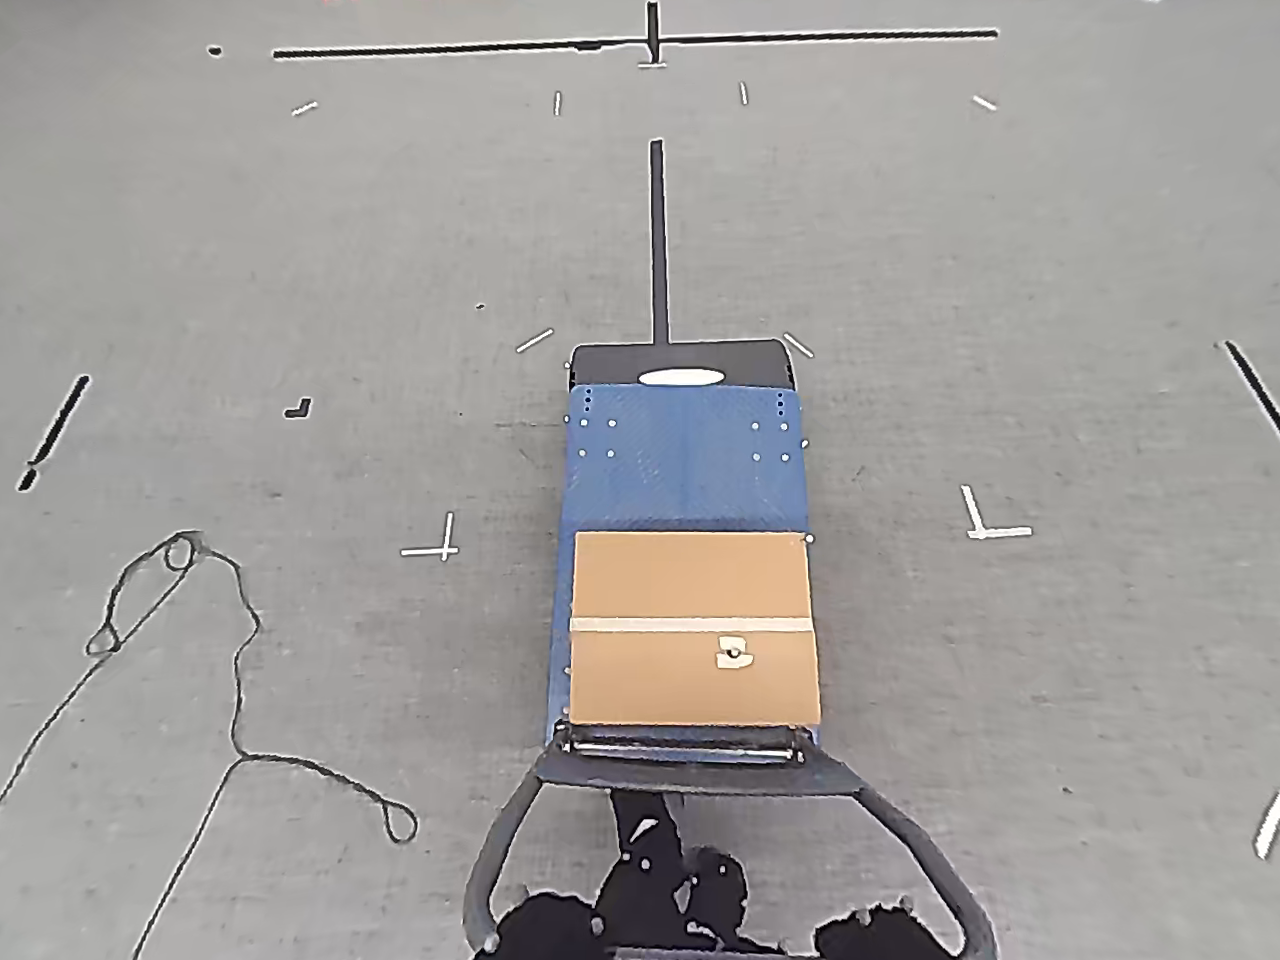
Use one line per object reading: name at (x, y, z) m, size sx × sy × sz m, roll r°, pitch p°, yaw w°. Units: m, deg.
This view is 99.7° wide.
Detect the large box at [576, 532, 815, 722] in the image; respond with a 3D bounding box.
large box at (0.087, 0.286, 1.070) m, size 0.408 × 0.320 × 0.320 m, roll 0°, pitch 75°, yaw 0°
